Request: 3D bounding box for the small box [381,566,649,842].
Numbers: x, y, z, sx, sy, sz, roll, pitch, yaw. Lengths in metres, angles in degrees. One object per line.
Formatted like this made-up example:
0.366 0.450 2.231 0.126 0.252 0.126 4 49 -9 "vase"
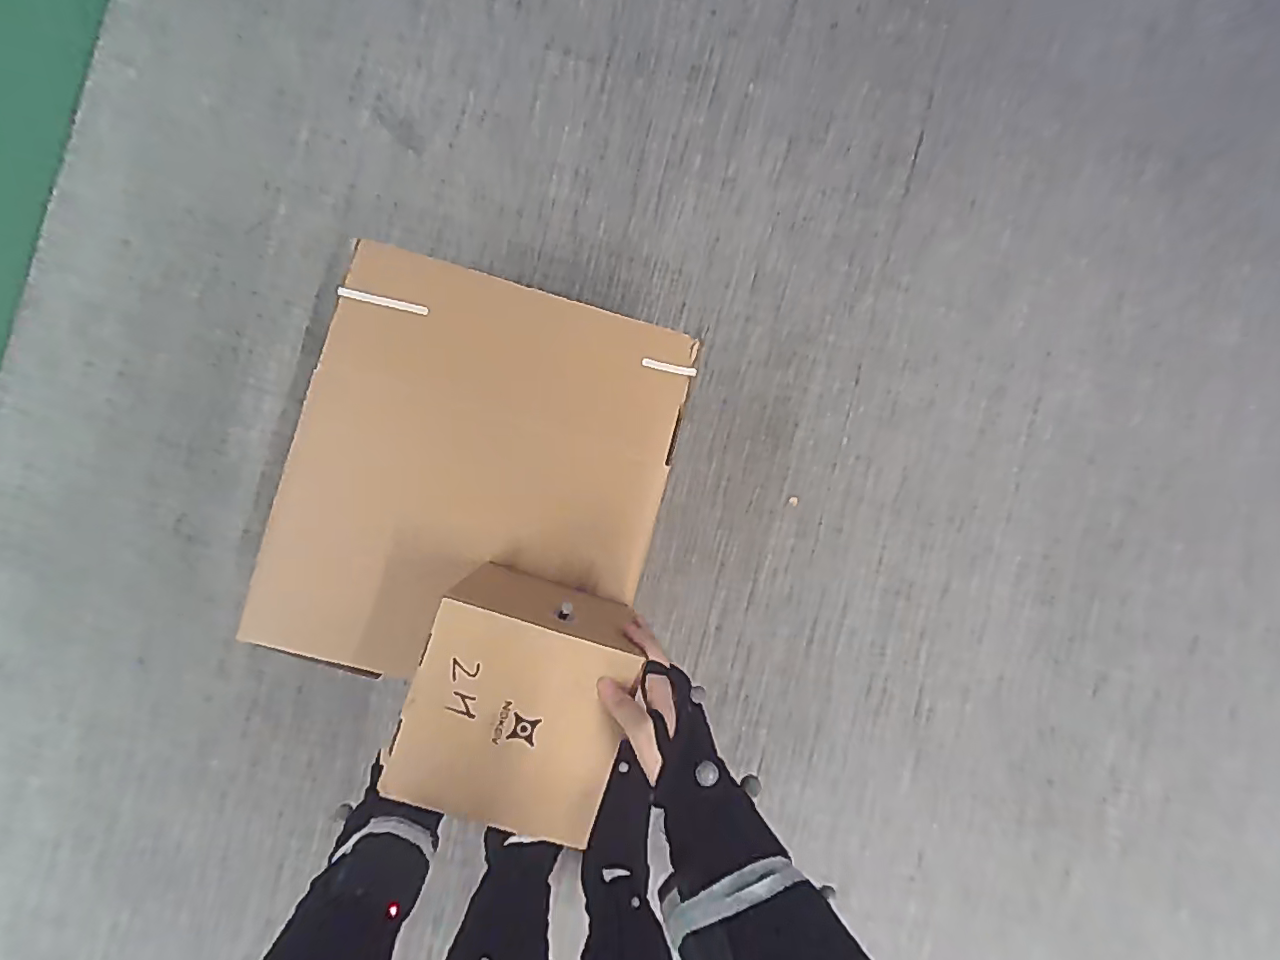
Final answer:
-0.106 0.192 0.516 0.179 0.176 0.168 19 89 -5 "small box"
